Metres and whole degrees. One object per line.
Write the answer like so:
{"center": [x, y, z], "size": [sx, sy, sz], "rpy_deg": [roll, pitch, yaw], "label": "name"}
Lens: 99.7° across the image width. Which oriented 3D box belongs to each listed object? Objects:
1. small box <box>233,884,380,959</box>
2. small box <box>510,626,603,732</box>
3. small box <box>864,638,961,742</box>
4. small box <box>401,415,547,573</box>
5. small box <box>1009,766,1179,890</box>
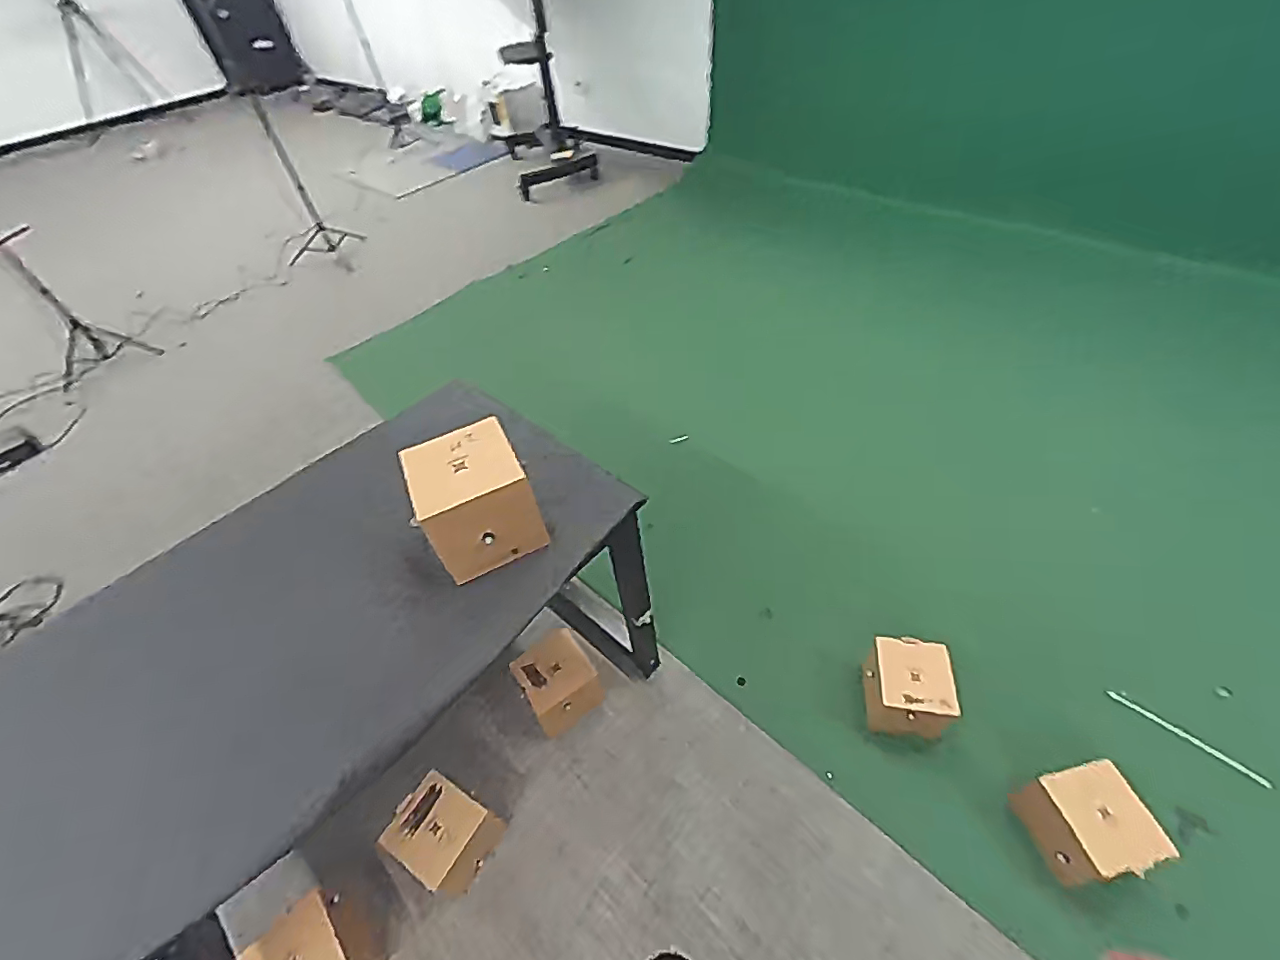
{"center": [-0.659, 0.961, 1.085], "size": [0.168, 0.176, 0.179], "rpy_deg": [-37, 54, -24], "label": "small box"}
{"center": [-0.214, 0.527, 1.421], "size": [0.179, 0.176, 0.168], "rpy_deg": [-28, 52, -20], "label": "small box"}
{"center": [0.660, 0.518, 1.335], "size": [0.168, 0.176, 0.179], "rpy_deg": [5, 48, 11], "label": "small box"}
{"center": [-0.267, 0.029, 0.887], "size": [0.168, 0.176, 0.179], "rpy_deg": [-23, 47, -14], "label": "small box"}
{"center": [0.923, 0.725, 1.121], "size": [0.168, 0.176, 0.179], "rpy_deg": [-11, 47, -6], "label": "small box"}
